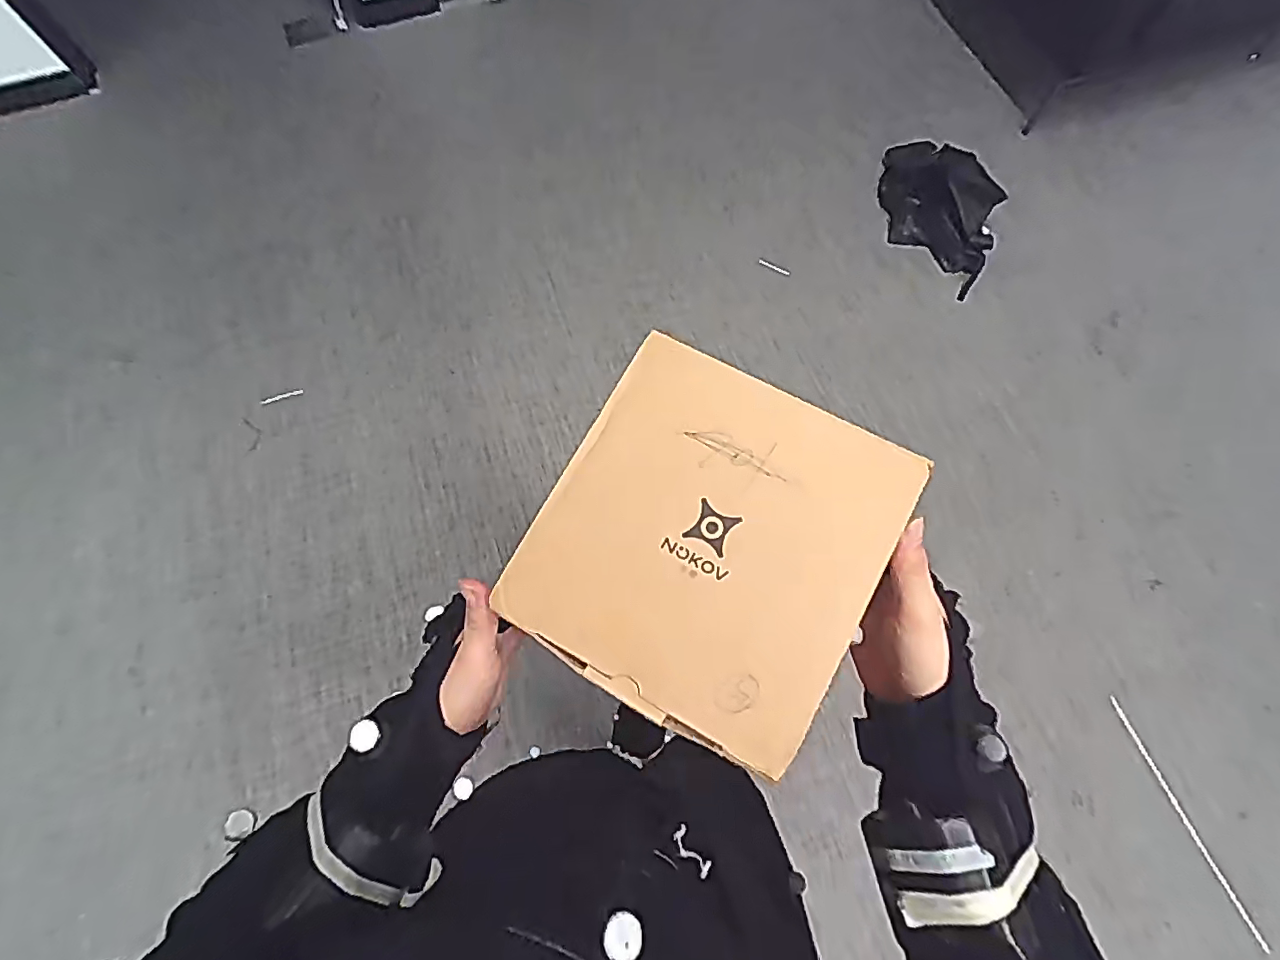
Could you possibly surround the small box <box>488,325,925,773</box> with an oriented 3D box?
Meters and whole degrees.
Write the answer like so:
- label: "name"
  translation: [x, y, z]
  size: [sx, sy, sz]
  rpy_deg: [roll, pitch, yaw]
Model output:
- label: "small box"
  translation: [0.040, 0.042, 0.349]
  size: [0.168, 0.176, 0.179]
  rpy_deg: [28, 79, 10]
